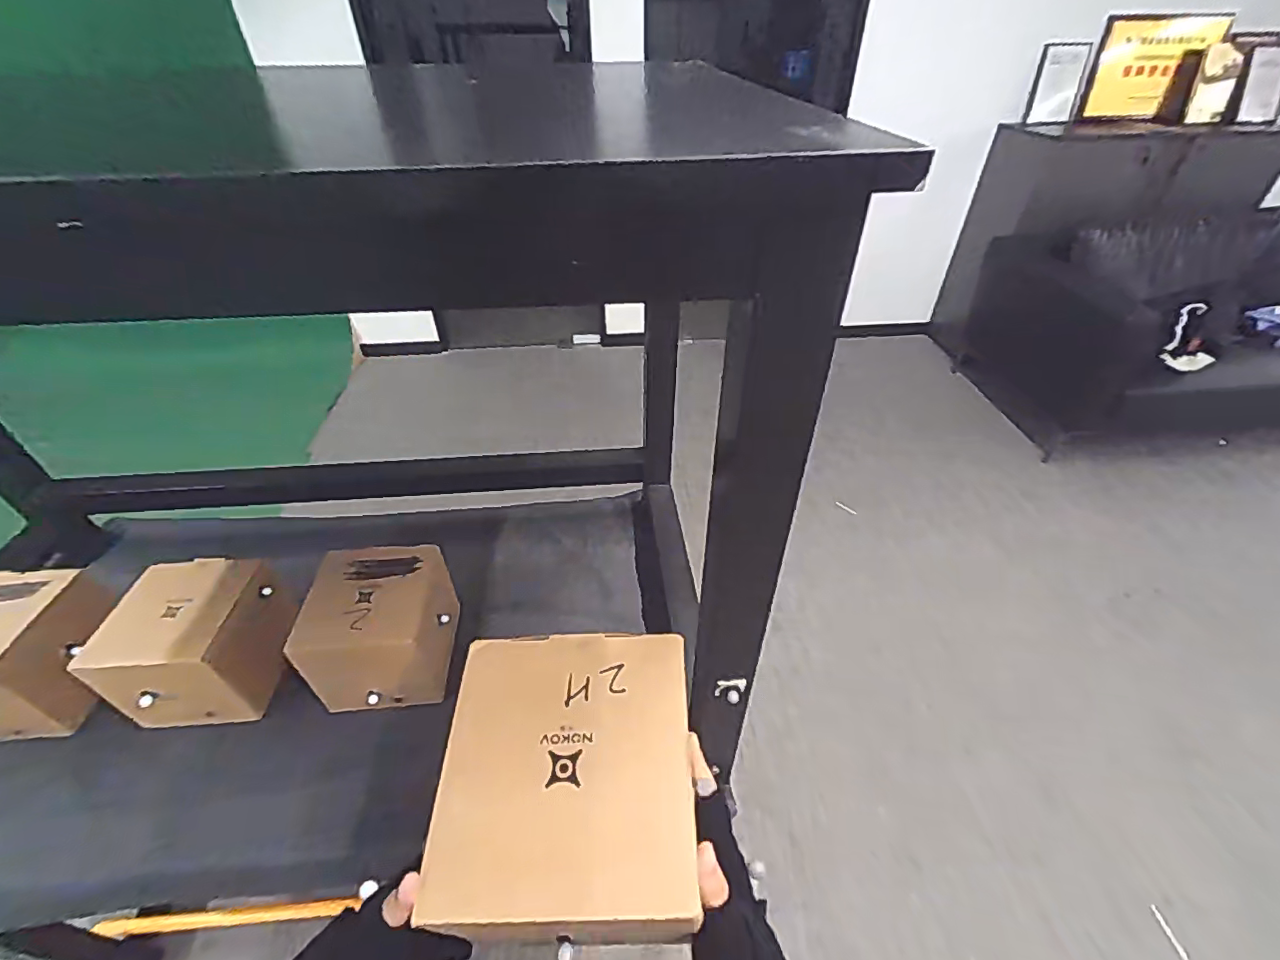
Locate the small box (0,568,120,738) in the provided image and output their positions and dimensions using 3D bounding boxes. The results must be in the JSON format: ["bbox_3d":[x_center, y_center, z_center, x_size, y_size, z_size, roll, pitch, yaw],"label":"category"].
[{"bbox_3d":[-0.893,0.250,0.784,0.168,0.176,0.179,-2,41,-3],"label":"small box"}]

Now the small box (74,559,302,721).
[{"bbox_3d":[-0.641,0.240,0.801,0.168,0.176,0.179,-2,40,-3],"label":"small box"}]
